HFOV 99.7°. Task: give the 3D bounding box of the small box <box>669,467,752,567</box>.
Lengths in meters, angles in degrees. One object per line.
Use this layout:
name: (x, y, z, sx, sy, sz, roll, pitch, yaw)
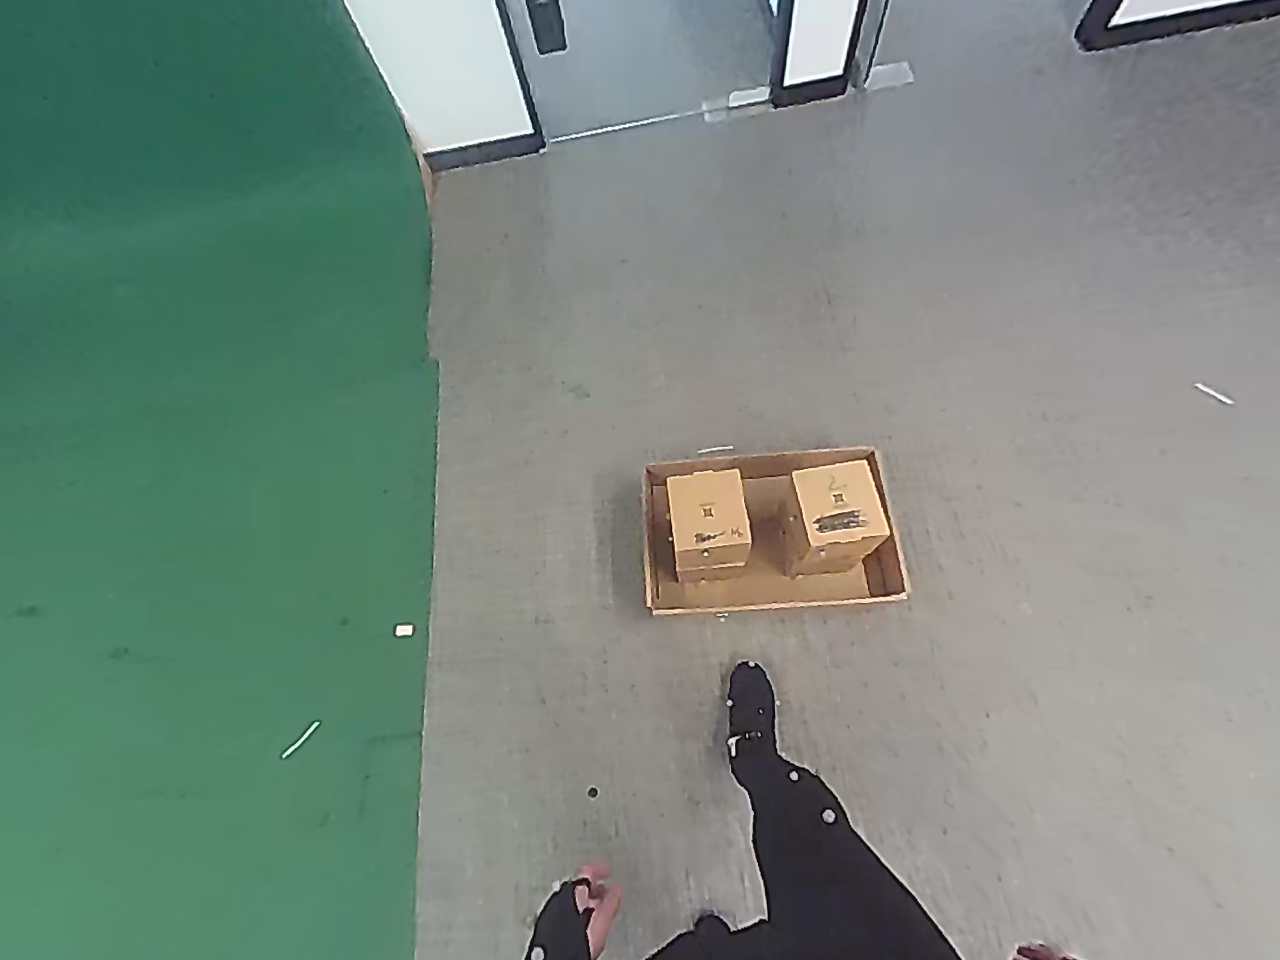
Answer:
small box: (0.159, 0.089, 1.246, 0.168, 0.176, 0.179, -7, 66, 5)
